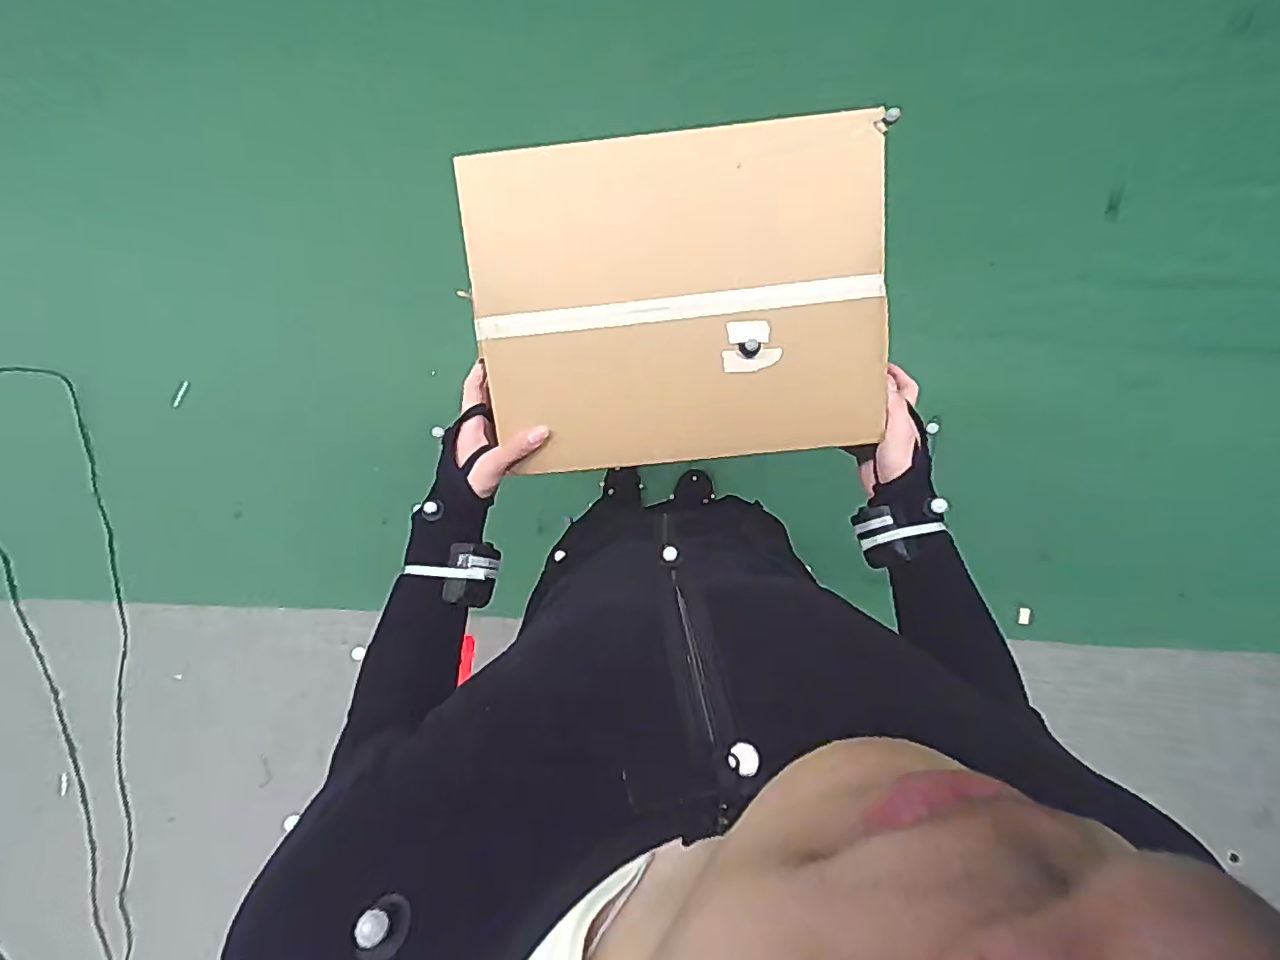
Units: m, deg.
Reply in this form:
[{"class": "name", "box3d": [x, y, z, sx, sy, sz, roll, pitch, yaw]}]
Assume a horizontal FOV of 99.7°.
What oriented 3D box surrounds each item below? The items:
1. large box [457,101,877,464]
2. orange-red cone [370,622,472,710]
[{"class": "large box", "box3d": [0.035, -0.218, 0.688, 0.408, 0.320, 0.320, -6, 103, 1]}, {"class": "orange-red cone", "box3d": [-0.643, 0.554, 1.516, 0.199, 0.360, 0.198, 9, 91, 4]}]
